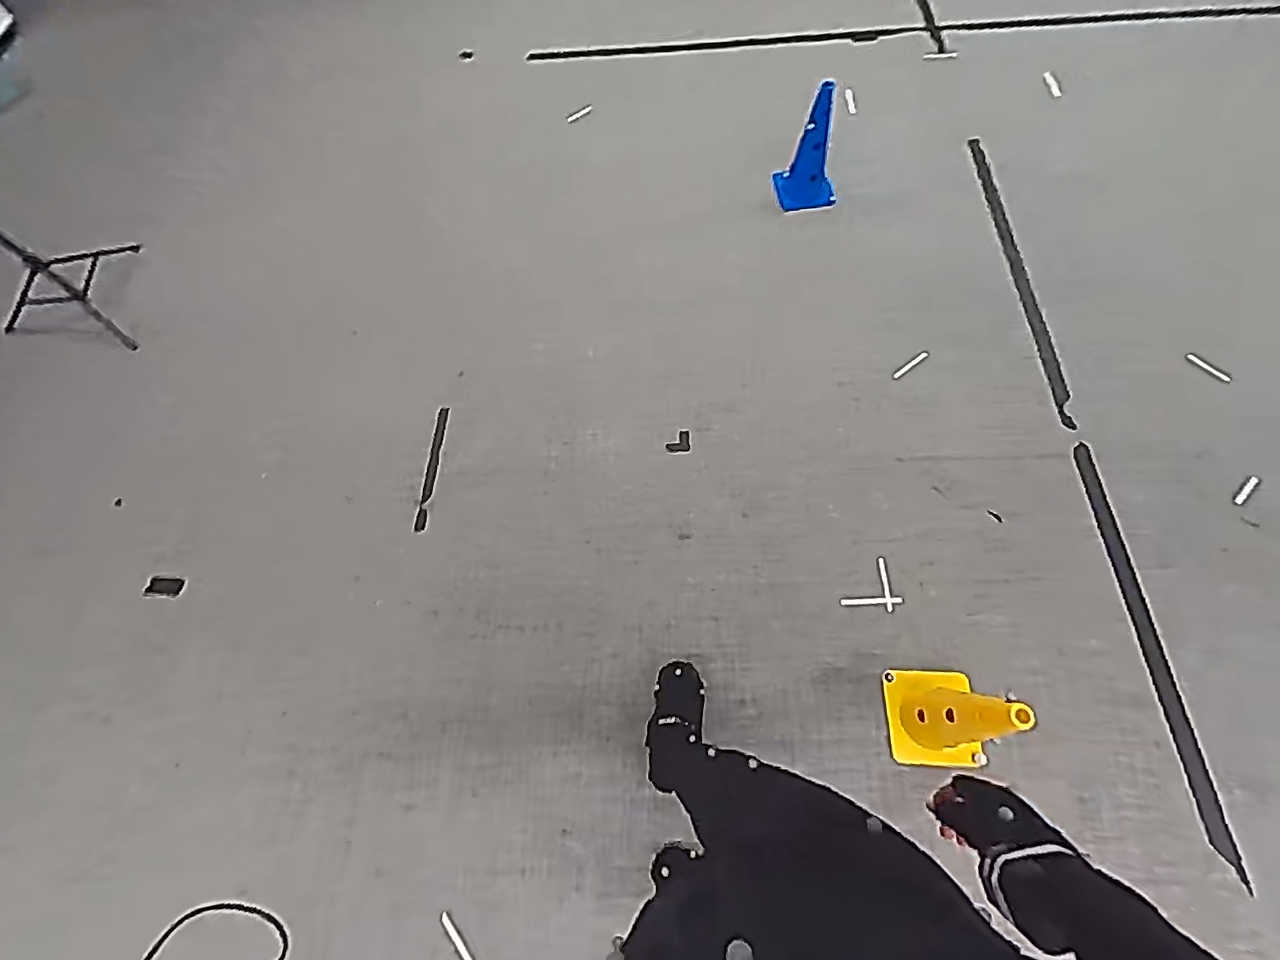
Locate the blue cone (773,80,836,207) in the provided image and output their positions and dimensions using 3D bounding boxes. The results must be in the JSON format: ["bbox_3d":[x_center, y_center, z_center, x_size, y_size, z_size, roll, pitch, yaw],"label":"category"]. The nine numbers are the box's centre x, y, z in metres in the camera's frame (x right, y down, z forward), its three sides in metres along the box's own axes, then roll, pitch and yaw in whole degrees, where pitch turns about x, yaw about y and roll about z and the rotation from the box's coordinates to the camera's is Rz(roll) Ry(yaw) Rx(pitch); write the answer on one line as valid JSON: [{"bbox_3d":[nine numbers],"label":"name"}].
[{"bbox_3d":[0.581,-1.134,1.818,0.192,0.380,0.193,-6,65,1],"label":"blue cone"}]
